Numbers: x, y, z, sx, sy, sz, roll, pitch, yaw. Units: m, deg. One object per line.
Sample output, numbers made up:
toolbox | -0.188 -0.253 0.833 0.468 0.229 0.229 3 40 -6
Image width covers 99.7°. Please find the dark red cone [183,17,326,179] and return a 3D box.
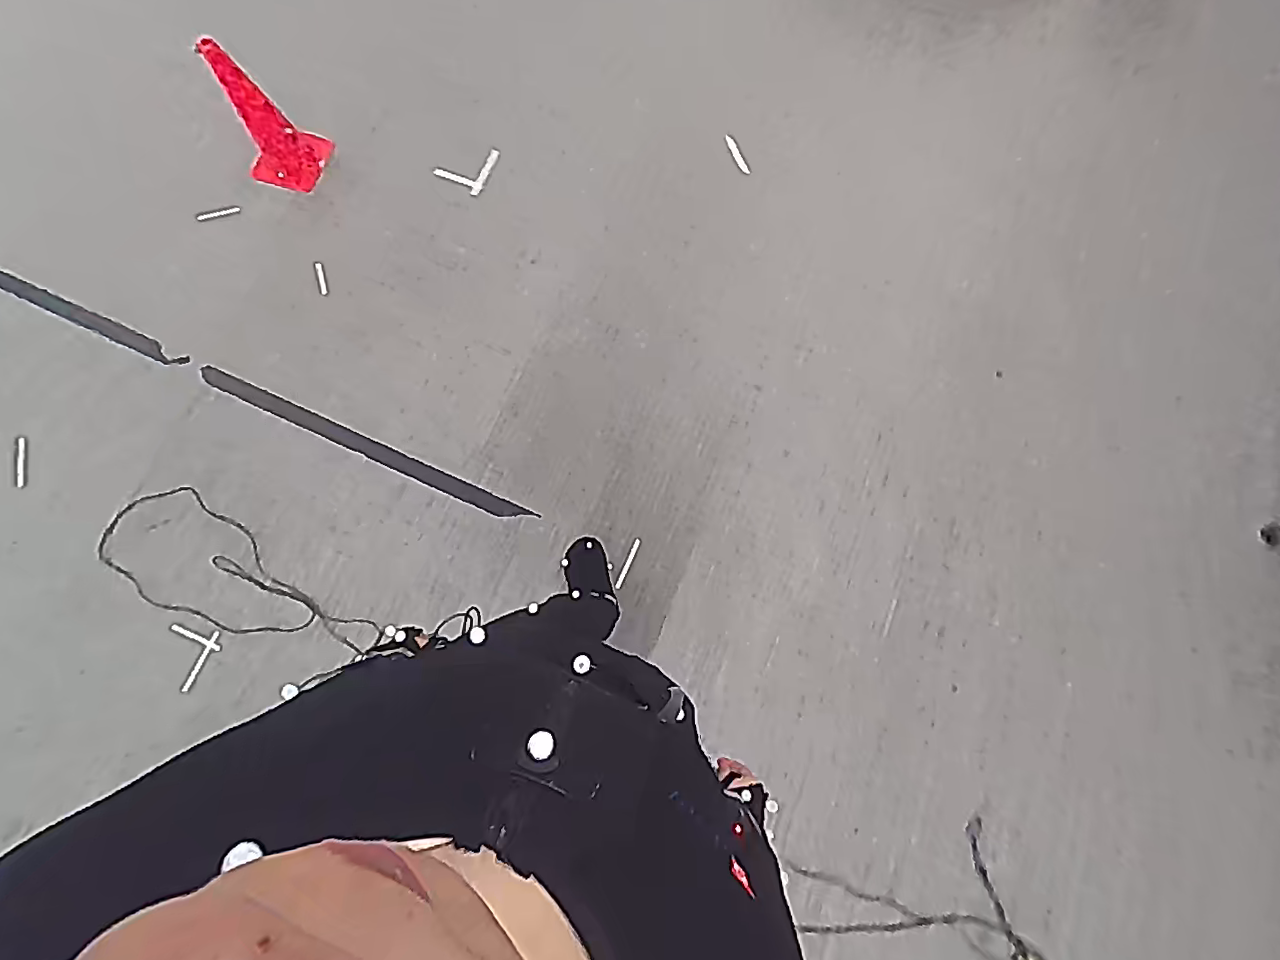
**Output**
dark red cone | -1.052 -1.027 1.448 0.202 0.394 0.201 16 78 3
